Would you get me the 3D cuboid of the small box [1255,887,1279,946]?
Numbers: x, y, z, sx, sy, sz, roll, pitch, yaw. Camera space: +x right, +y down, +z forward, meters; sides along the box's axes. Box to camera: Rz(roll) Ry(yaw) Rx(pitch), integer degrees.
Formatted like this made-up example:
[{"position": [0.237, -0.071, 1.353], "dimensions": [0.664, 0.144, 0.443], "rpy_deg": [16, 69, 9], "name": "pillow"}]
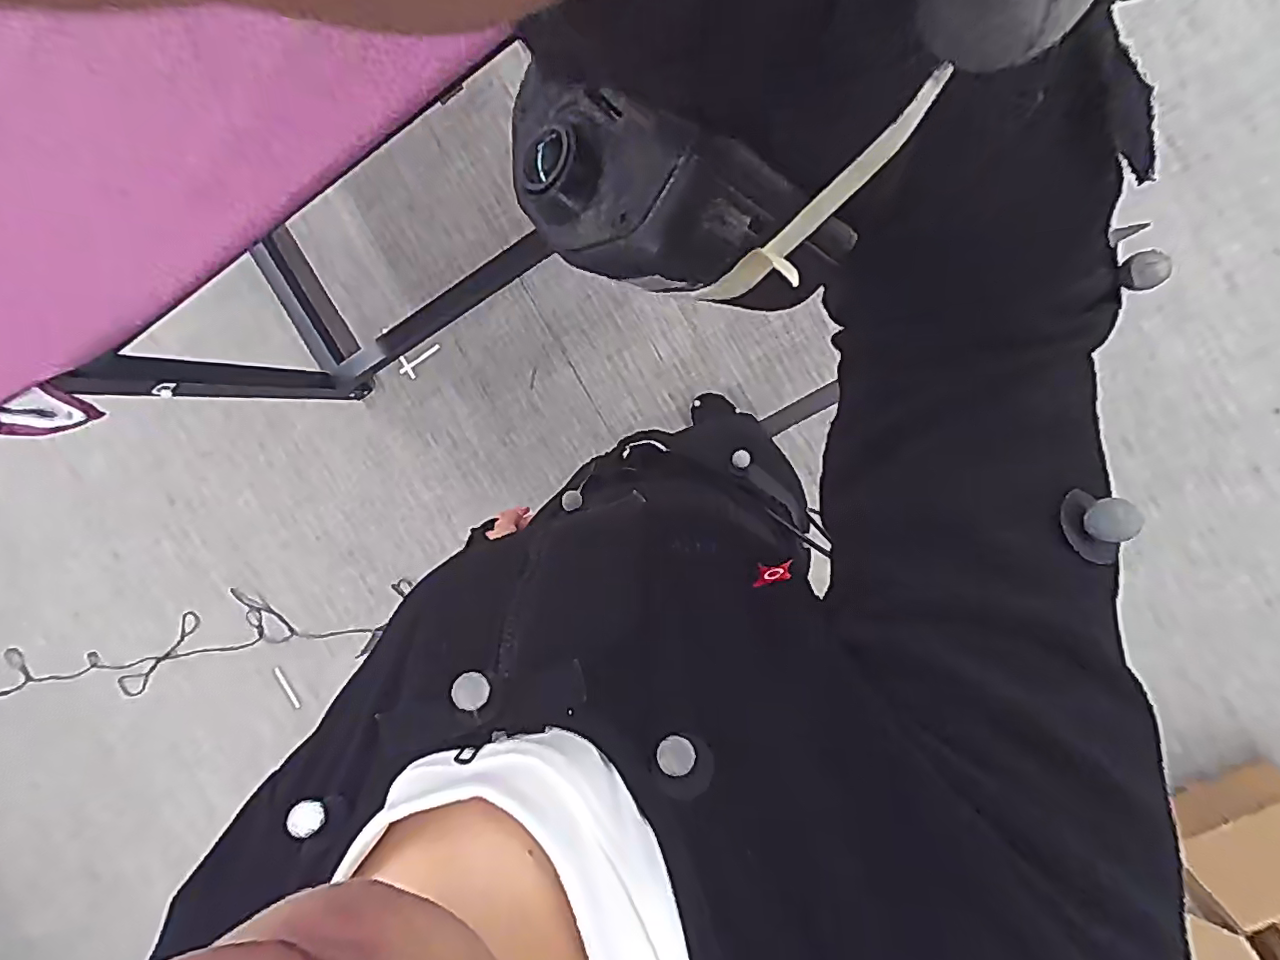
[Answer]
[{"position": [1.355, 0.899, 1.018], "dimensions": [0.168, 0.176, 0.179], "rpy_deg": [-31, 91, 11], "name": "small box"}]
